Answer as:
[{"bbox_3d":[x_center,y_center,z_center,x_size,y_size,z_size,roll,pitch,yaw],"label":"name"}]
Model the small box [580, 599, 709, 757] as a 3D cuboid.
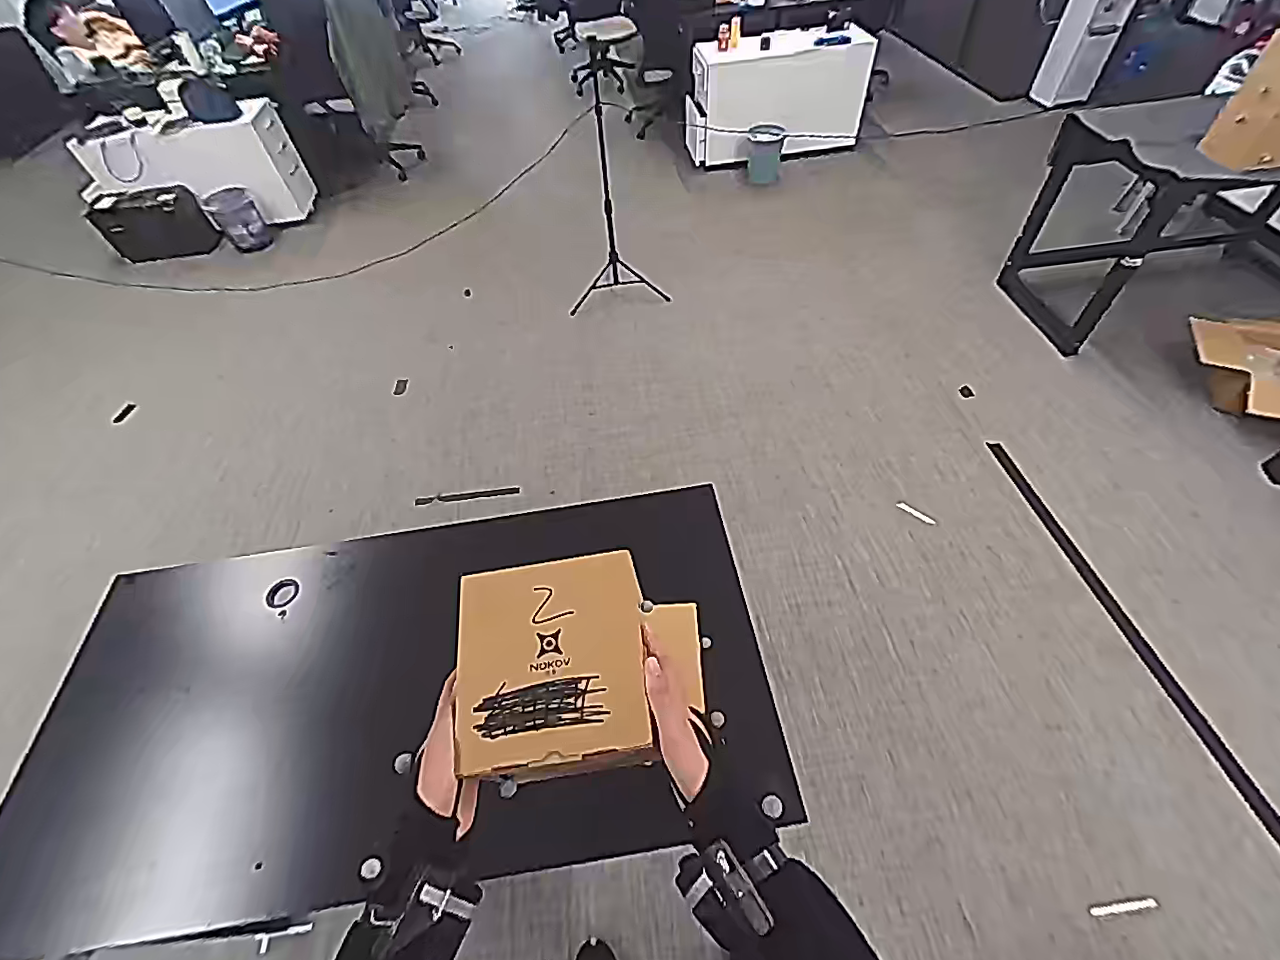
[{"bbox_3d":[0.011,0.292,0.792,0.168,0.176,0.179,-4,52,4],"label":"small box"}]
